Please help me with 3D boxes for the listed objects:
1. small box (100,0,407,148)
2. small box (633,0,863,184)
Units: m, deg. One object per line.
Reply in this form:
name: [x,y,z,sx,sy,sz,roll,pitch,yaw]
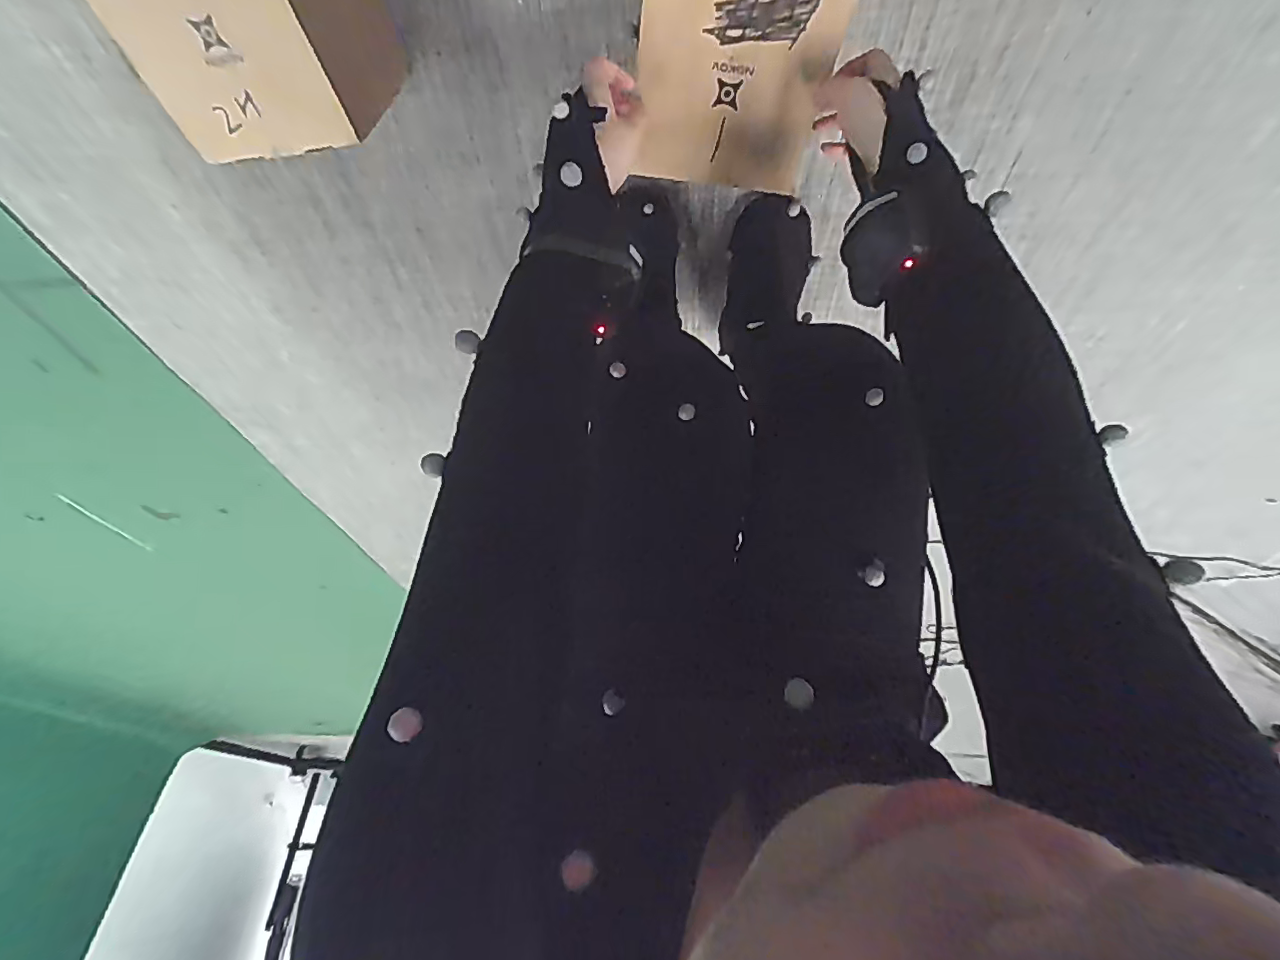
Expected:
small box: [-0.343,-0.437,0.487,0.168,0.176,0.179,-3,145,7]
small box: [0.085,-0.410,0.496,0.168,0.176,0.179,6,146,-4]
